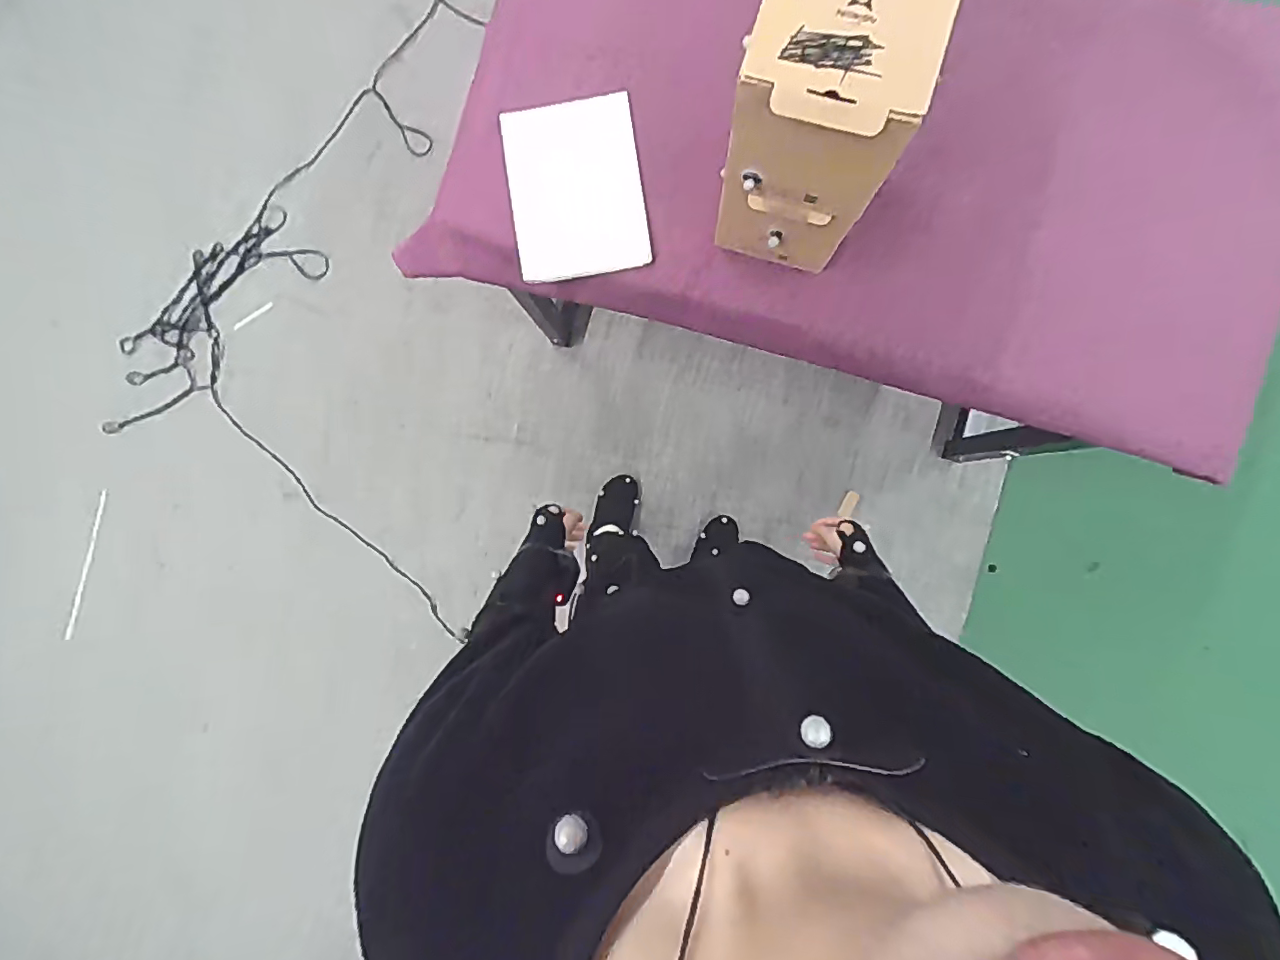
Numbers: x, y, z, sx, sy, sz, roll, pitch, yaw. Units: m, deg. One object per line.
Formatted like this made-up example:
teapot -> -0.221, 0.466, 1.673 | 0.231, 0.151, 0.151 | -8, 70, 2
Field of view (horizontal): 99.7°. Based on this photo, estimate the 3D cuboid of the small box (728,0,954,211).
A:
small box -> 0.194, -0.413, 0.556 | 0.168, 0.176, 0.179 | 17, 88, 4

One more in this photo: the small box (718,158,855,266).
small box -> 0.207, -0.414, 0.721 | 0.168, 0.176, 0.179 | 17, 90, 4
